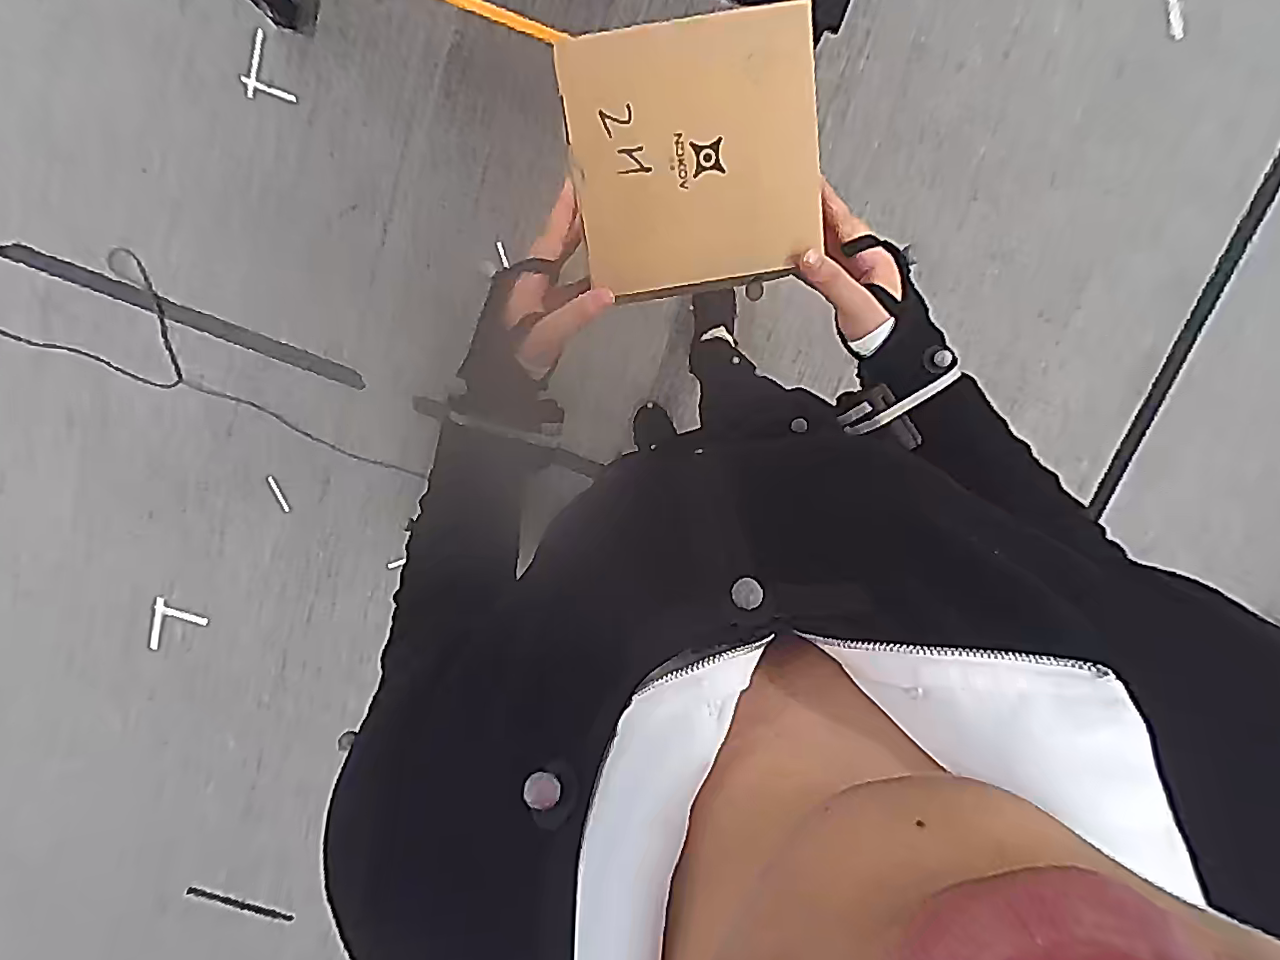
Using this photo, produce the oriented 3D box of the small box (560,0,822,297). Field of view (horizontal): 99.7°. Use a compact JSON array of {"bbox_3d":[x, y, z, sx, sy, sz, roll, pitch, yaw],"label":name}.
[{"bbox_3d":[0.038,-0.255,0.460,0.179,0.176,0.168,-8,106,1],"label":"small box"}]
